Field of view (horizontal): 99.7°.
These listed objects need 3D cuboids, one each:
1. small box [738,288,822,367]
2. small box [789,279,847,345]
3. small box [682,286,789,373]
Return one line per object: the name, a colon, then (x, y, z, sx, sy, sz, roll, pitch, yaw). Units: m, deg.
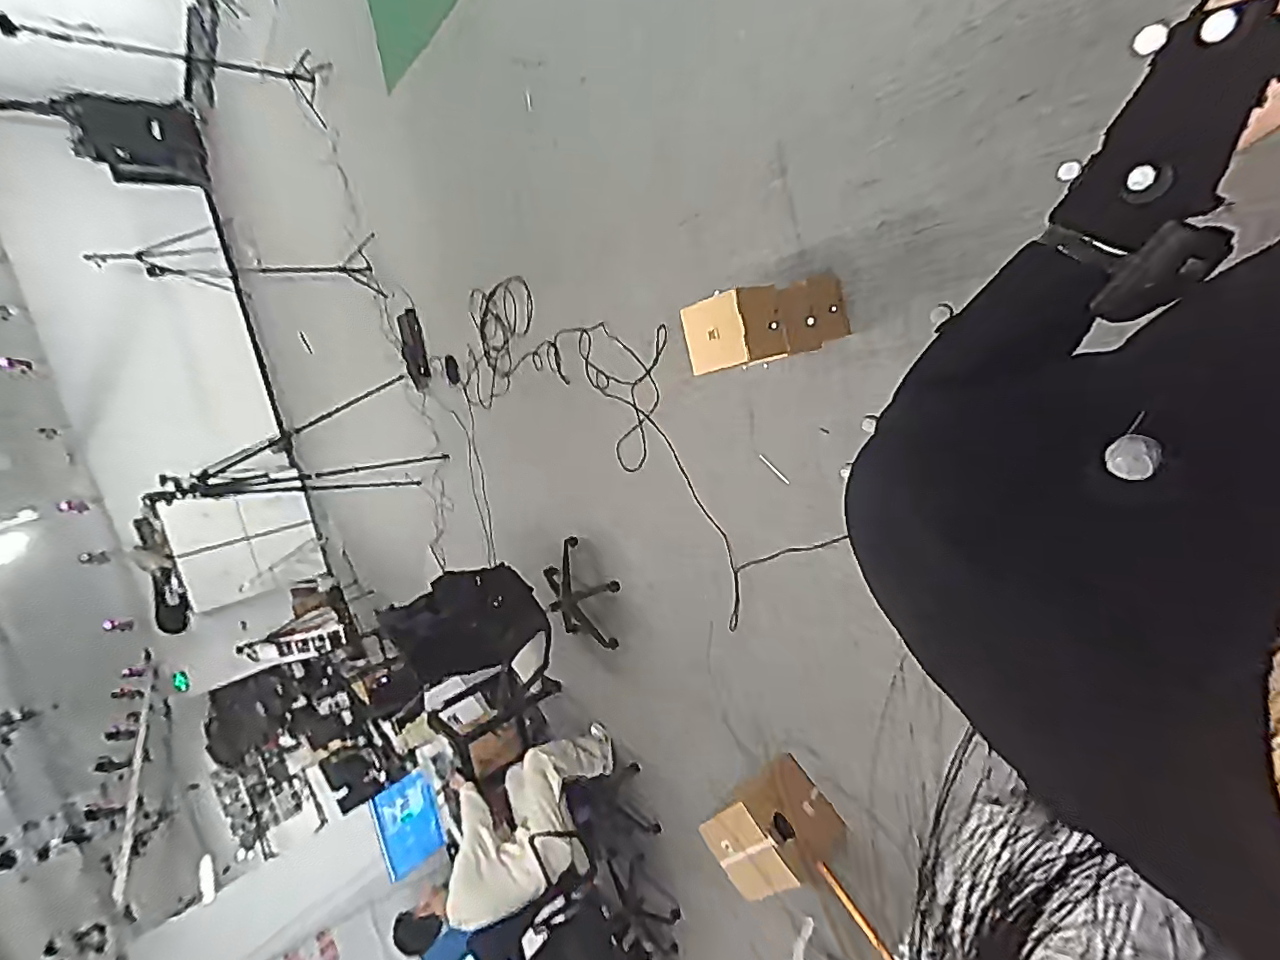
small box: (0.353, -0.402, 1.433, 0.179, 0.176, 0.168, -4, 102, 49)
small box: (0.467, -0.461, 1.536, 0.179, 0.176, 0.168, -9, 97, 51)
small box: (0.236, -0.367, 1.326, 0.179, 0.176, 0.168, -5, 101, 49)
